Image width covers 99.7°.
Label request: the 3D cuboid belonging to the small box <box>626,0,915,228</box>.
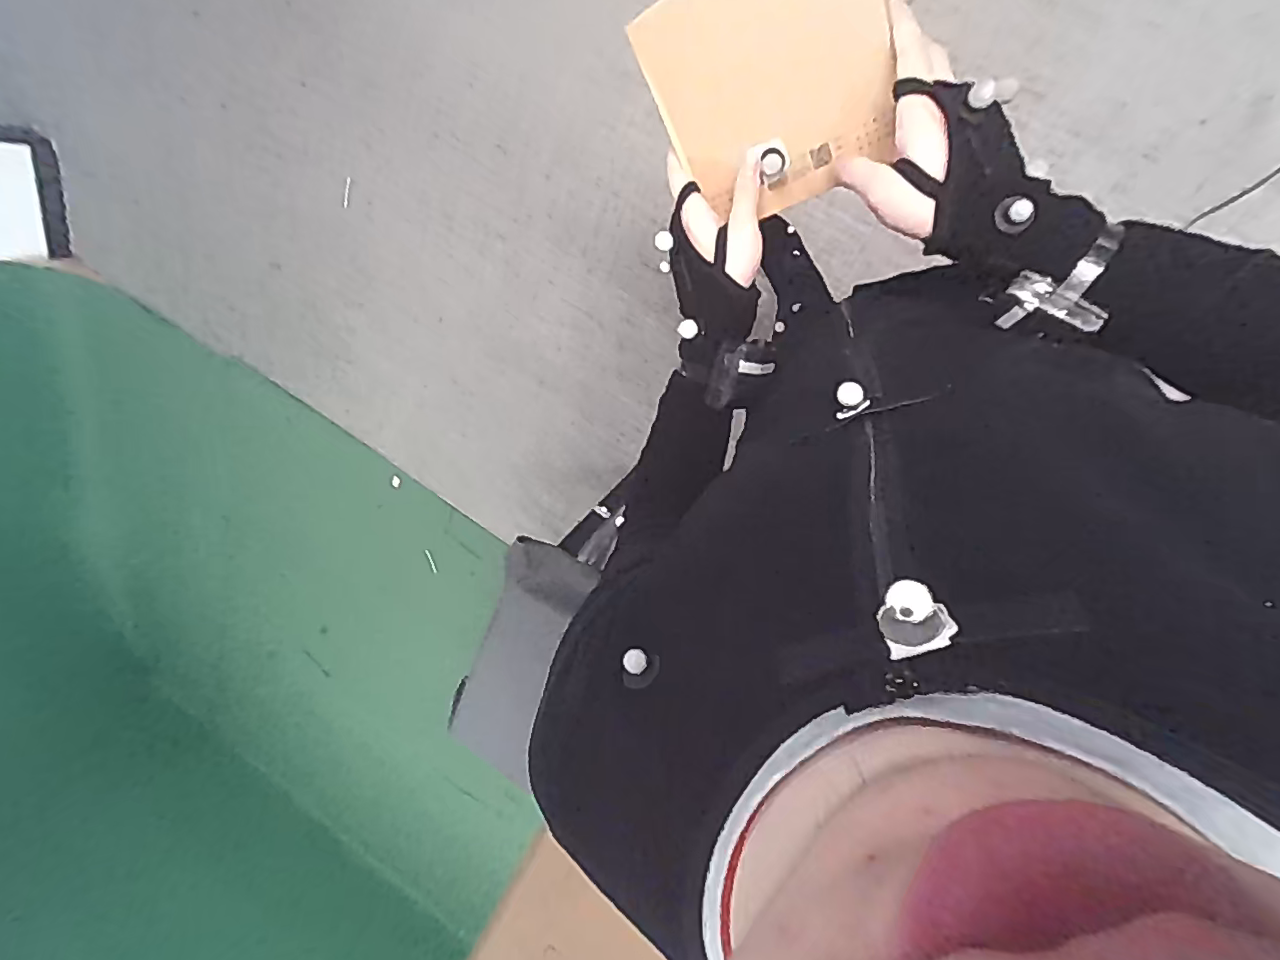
[{"bbox_3d":[0.120,-0.338,0.450,0.168,0.179,0.176,-11,123,34],"label":"small box"}]
